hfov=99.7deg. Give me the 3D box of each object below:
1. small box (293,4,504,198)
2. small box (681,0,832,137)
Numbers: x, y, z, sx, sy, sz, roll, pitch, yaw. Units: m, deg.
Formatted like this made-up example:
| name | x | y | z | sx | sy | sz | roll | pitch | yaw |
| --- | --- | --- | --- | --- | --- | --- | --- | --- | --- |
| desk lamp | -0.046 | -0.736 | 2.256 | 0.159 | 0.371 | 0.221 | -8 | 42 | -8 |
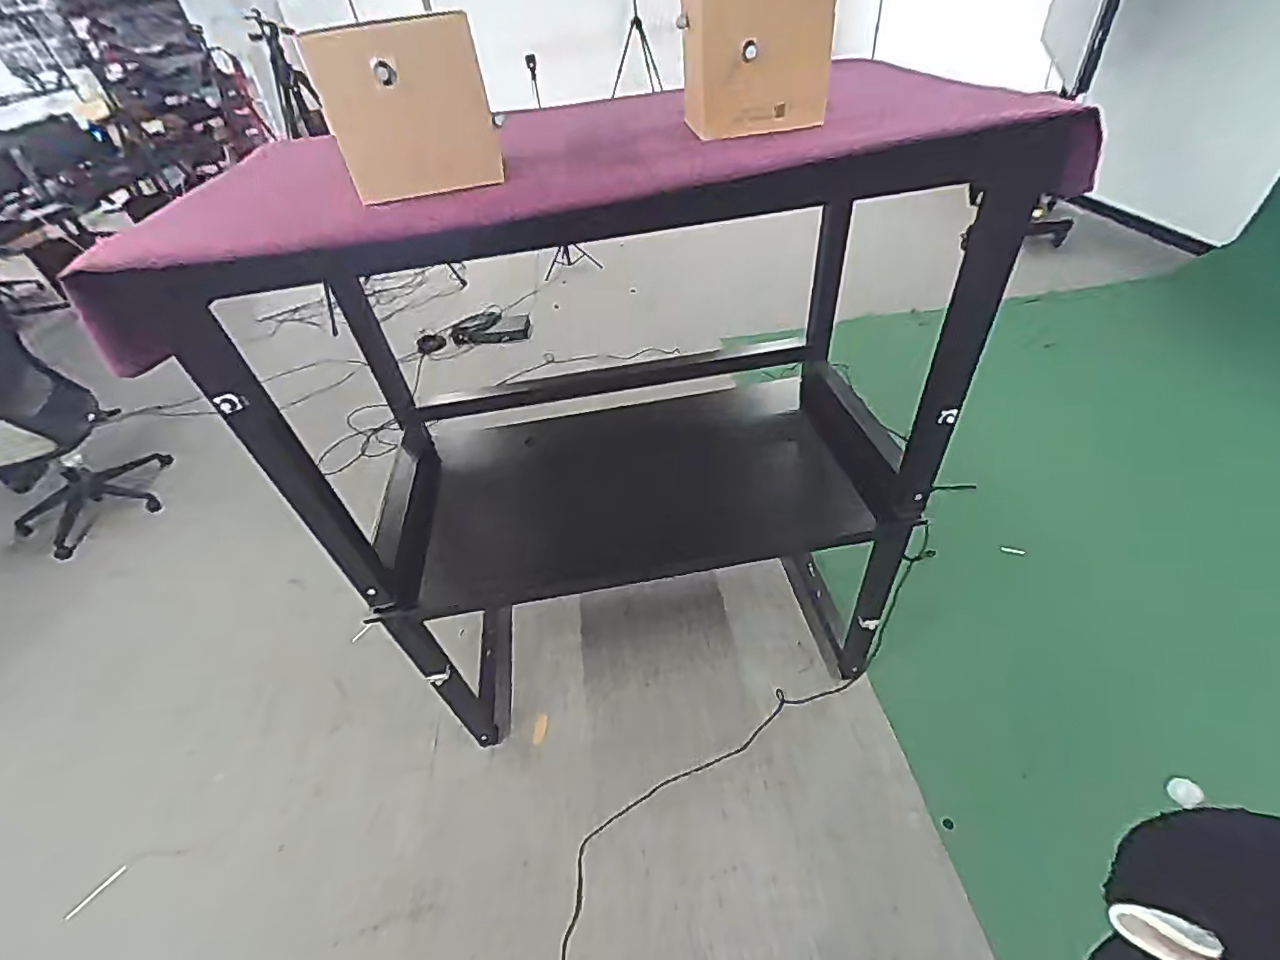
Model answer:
| name | x | y | z | sx | sy | sz | roll | pitch | yaw |
| --- | --- | --- | --- | --- | --- | --- | --- | --- | --- |
| small box | -0.279 | -0.466 | 0.671 | 0.179 | 0.176 | 0.168 | -12 | 43 | -5 |
| small box | 0.152 | -0.579 | 0.731 | 0.168 | 0.176 | 0.179 | -8 | 41 | 1 |
